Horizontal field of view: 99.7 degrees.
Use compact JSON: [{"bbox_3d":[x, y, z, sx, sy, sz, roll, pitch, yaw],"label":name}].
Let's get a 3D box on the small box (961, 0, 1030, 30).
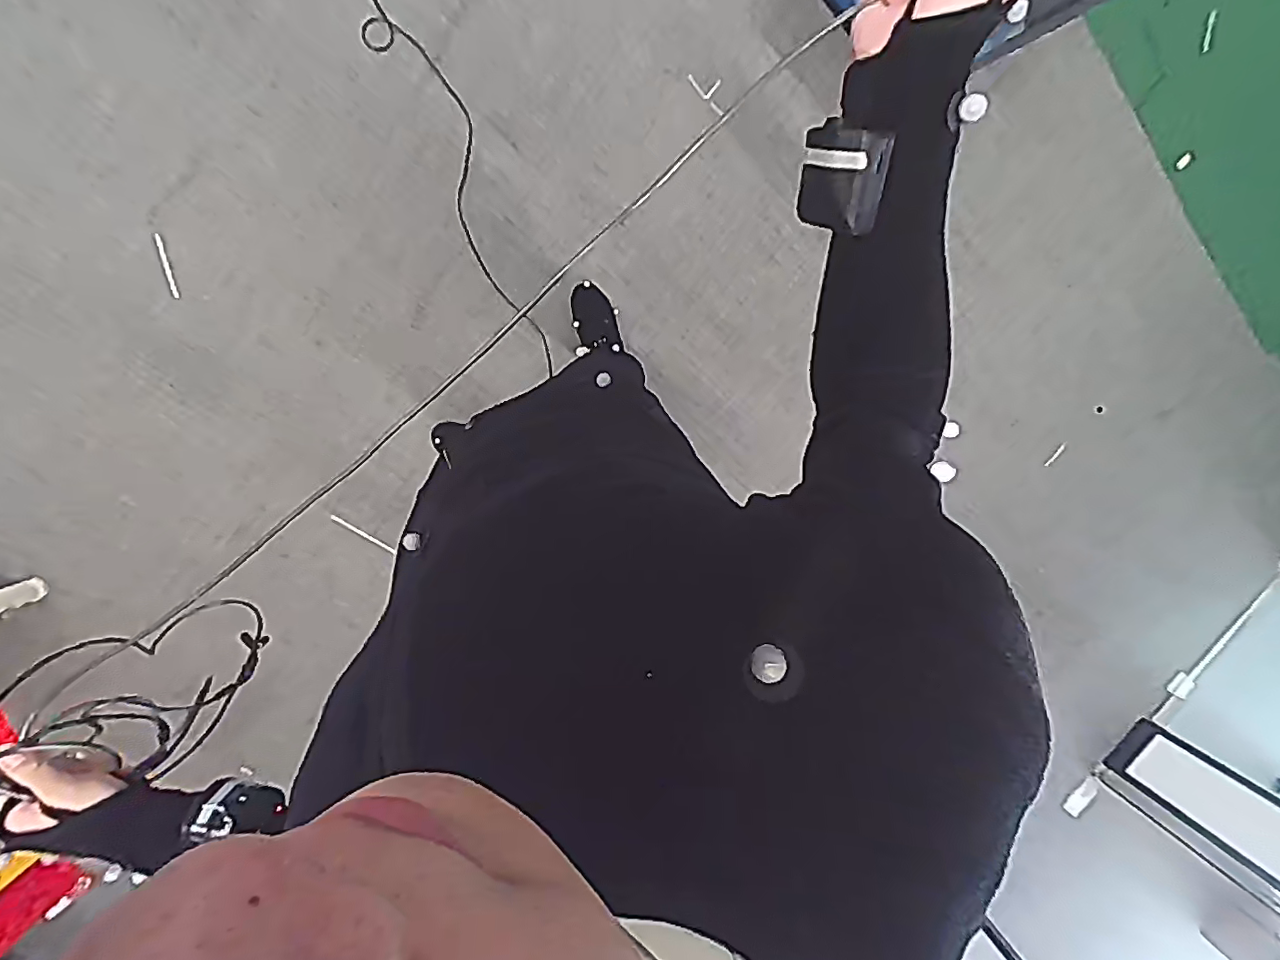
[{"bbox_3d":[0.885,-1.236,1.274,0.168,0.176,0.179,40,94,-18],"label":"small box"}]
